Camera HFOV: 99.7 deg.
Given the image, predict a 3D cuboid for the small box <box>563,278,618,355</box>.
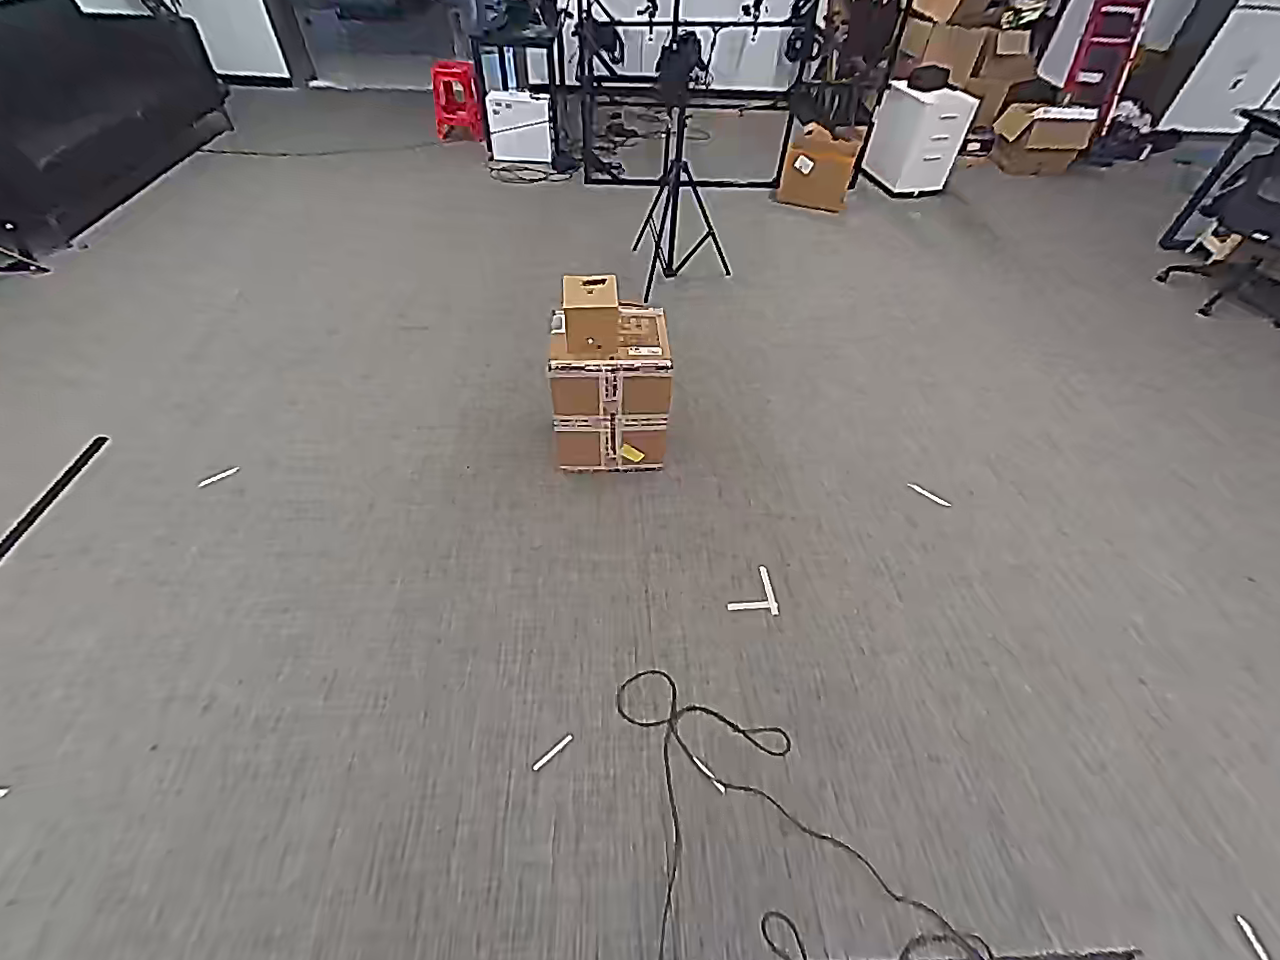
[{"bbox_3d":[-0.156,-0.517,1.715,0.168,0.176,0.179,-3,52,-4],"label":"small box"}]
